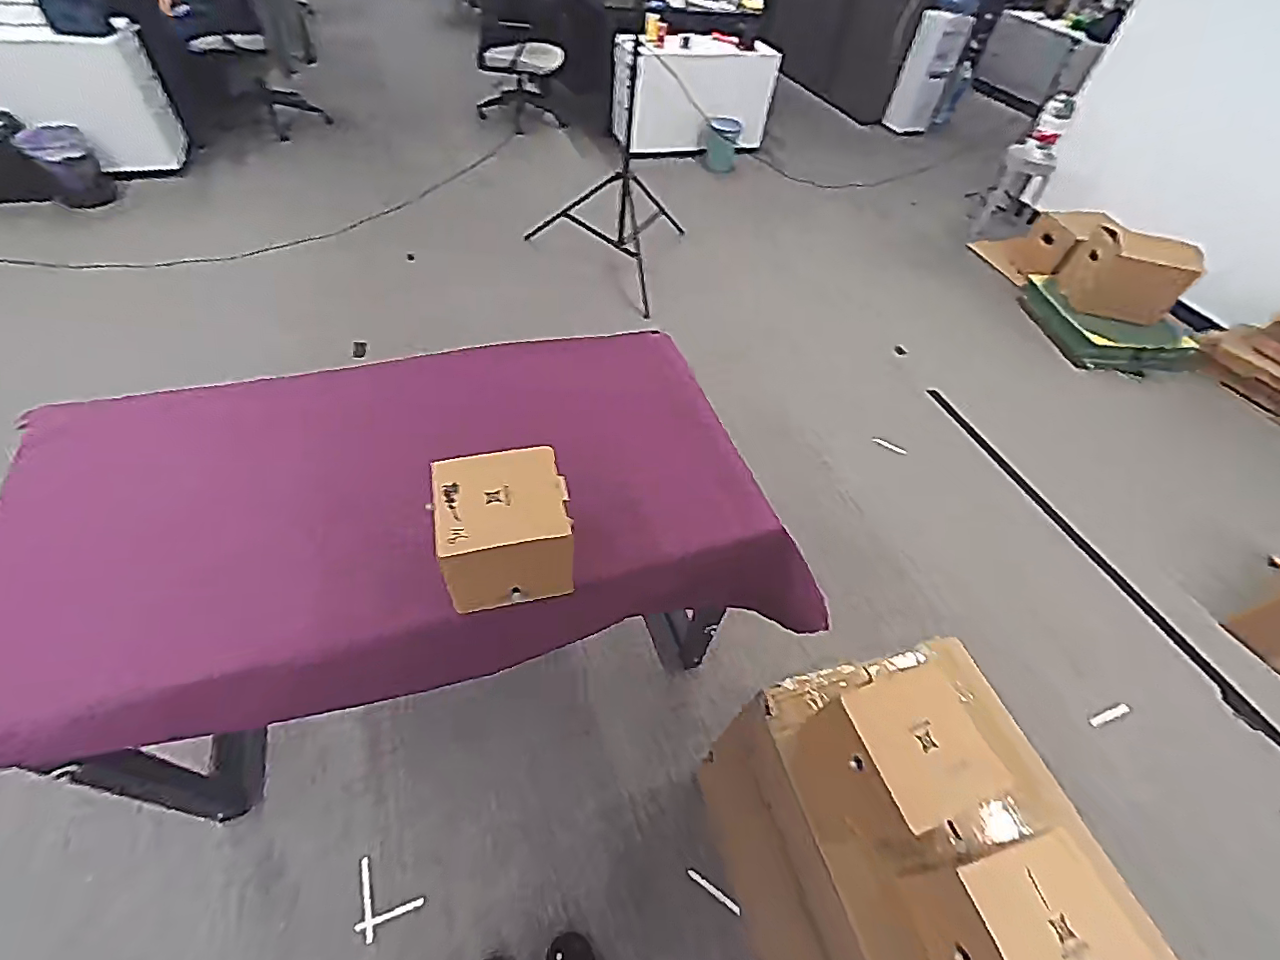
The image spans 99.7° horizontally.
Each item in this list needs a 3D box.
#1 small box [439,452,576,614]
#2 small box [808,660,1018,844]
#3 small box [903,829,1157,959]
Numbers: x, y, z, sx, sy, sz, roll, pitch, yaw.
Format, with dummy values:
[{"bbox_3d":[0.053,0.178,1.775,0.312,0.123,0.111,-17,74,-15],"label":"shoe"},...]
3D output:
[{"bbox_3d":[-0.199,0.081,0.819,0.179,0.176,0.168,-8,51,-14],"label":"small box"},{"bbox_3d":[0.368,0.388,0.770,0.168,0.176,0.179,-13,55,-15],"label":"small box"},{"bbox_3d":[0.458,0.549,0.645,0.168,0.176,0.179,-10,50,-13],"label":"small box"}]
